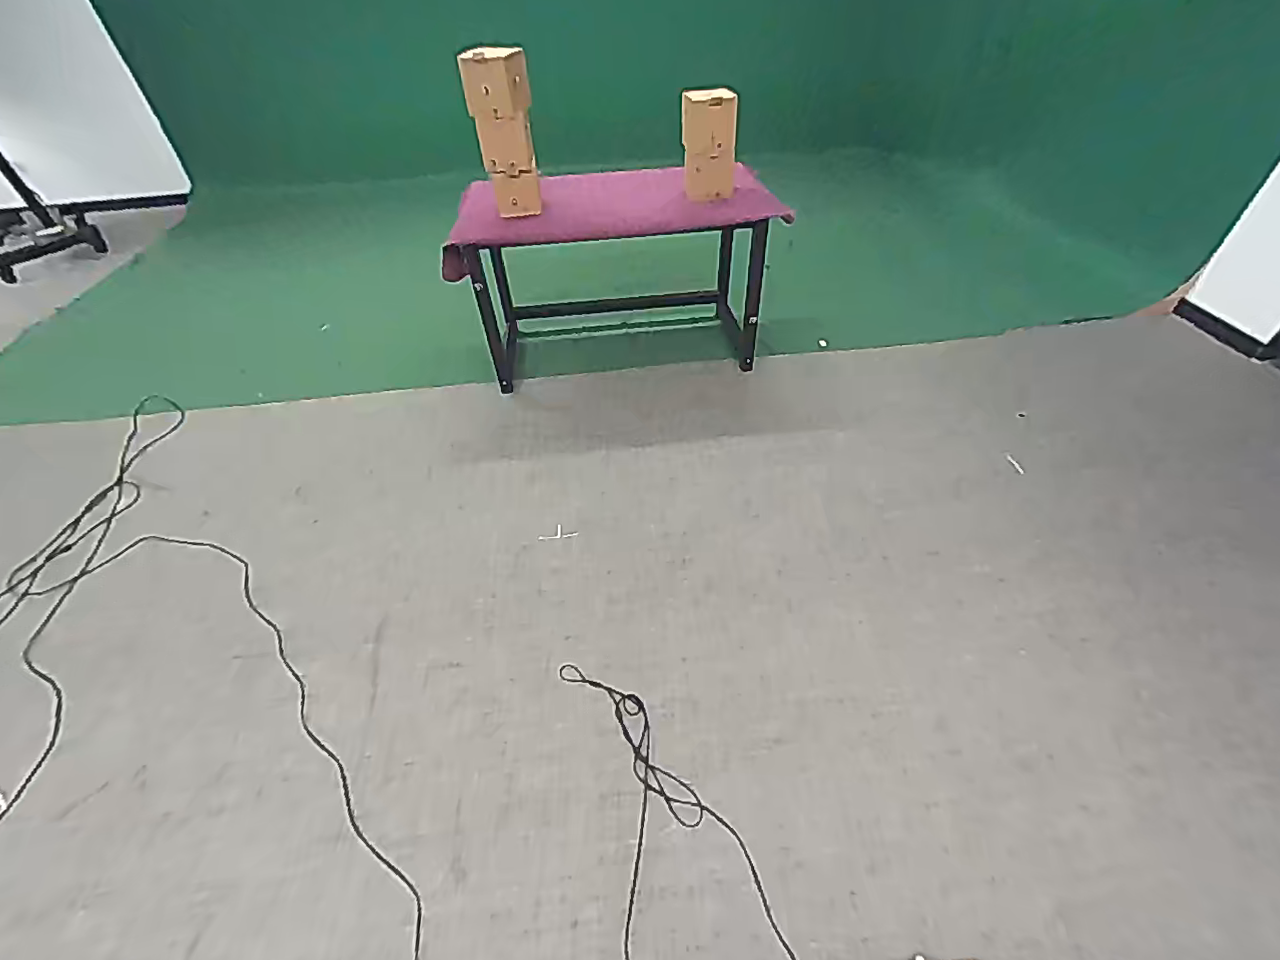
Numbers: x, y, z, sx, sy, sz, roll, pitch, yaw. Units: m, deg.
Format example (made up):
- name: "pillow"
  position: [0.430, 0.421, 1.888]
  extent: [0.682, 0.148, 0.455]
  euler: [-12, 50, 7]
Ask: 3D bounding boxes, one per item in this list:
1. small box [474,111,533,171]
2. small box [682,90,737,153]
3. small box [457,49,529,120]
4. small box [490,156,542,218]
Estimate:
- name: "small box"
  position: [-0.490, -1.239, 1.970]
  extent: [0.168, 0.176, 0.179]
  euler: [-3, 45, -1]
- name: "small box"
  position: [0.253, -1.335, 2.014]
  extent: [0.168, 0.176, 0.179]
  euler: [-9, 45, -4]
- name: "small box"
  position: [-0.495, -1.356, 1.854]
  extent: [0.168, 0.176, 0.179]
  euler: [10, 49, 10]
- name: "small box"
  position: [-0.477, -1.137, 2.098]
  extent: [0.168, 0.176, 0.179]
  euler: [-7, 46, -4]
